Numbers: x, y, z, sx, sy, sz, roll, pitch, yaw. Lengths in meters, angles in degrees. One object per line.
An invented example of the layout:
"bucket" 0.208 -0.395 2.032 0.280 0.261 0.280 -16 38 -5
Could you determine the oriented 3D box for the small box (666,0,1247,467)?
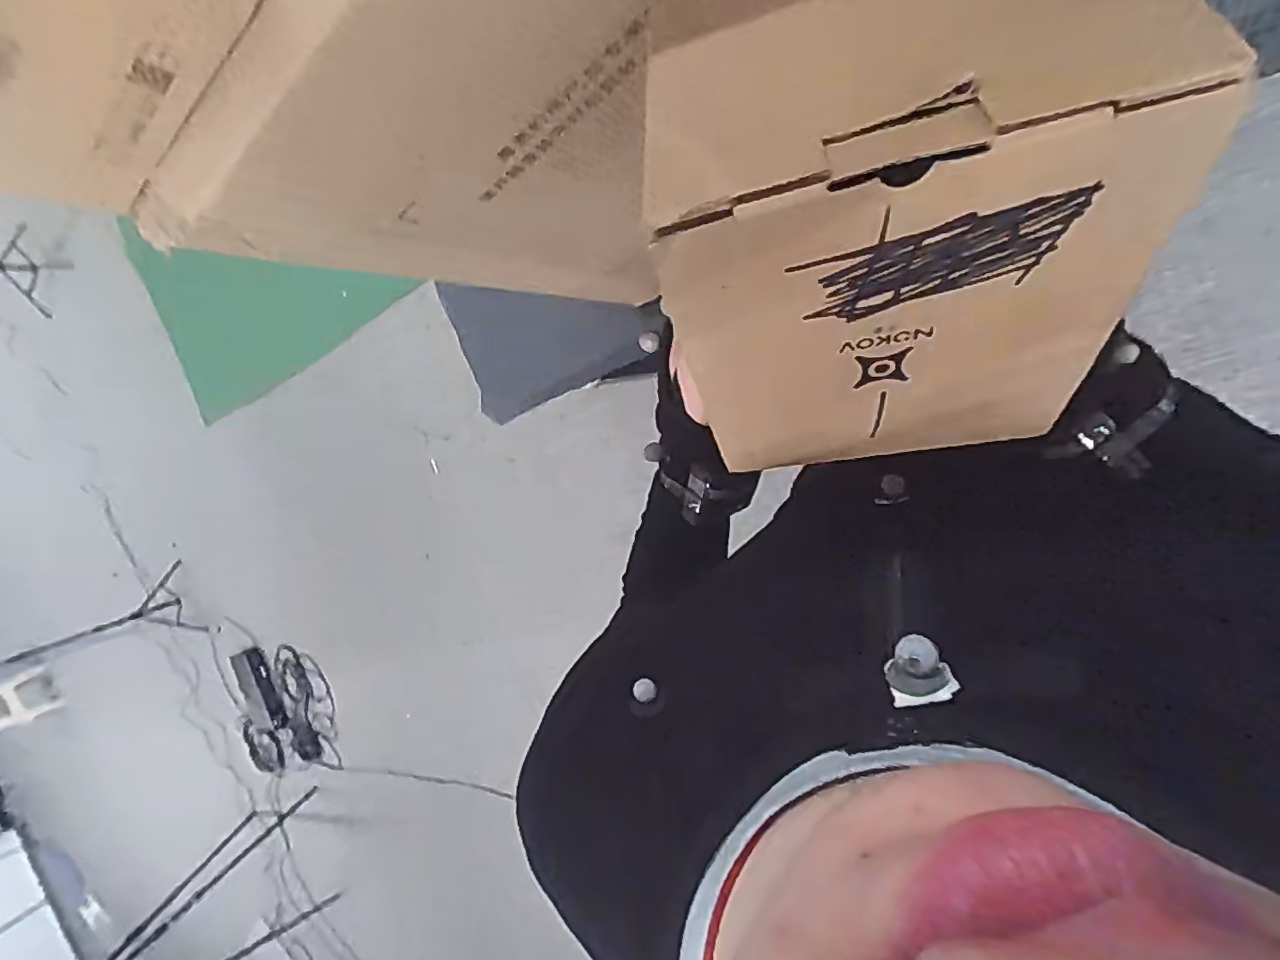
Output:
"small box" 0.110 -0.129 0.272 0.168 0.179 0.176 -6 60 16
